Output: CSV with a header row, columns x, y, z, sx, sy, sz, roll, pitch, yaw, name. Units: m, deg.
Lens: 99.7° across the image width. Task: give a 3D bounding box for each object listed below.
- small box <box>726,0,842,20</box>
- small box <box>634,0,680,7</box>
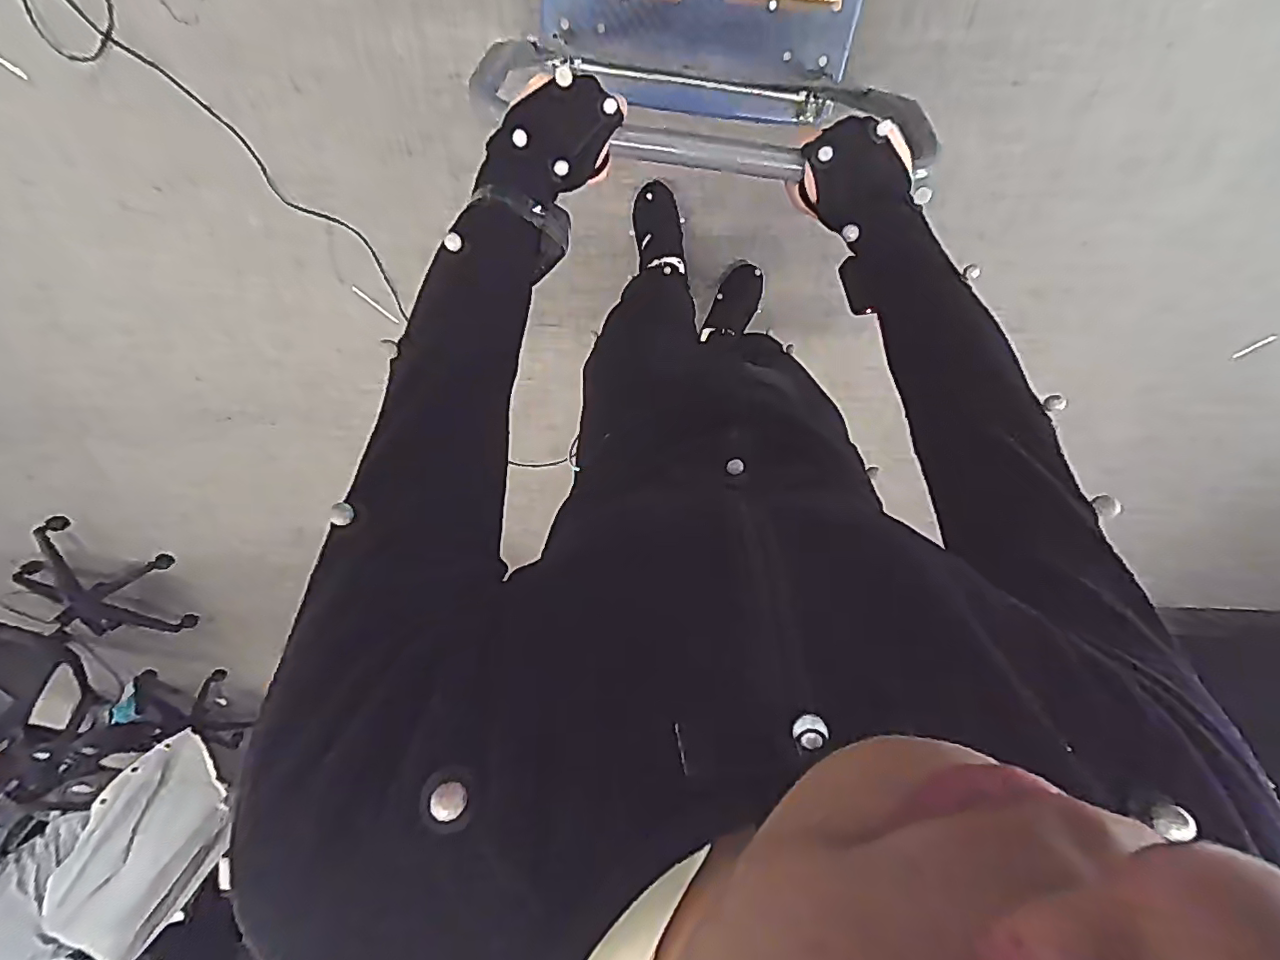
x,y,z,sx,sy,sz,roll,pitch,yaw,name
0.240,-0.859,0.865,0.179,0.176,0.168,6,126,-2,small box
0.000,-0.888,0.859,0.168,0.176,0.179,7,126,-3,small box
